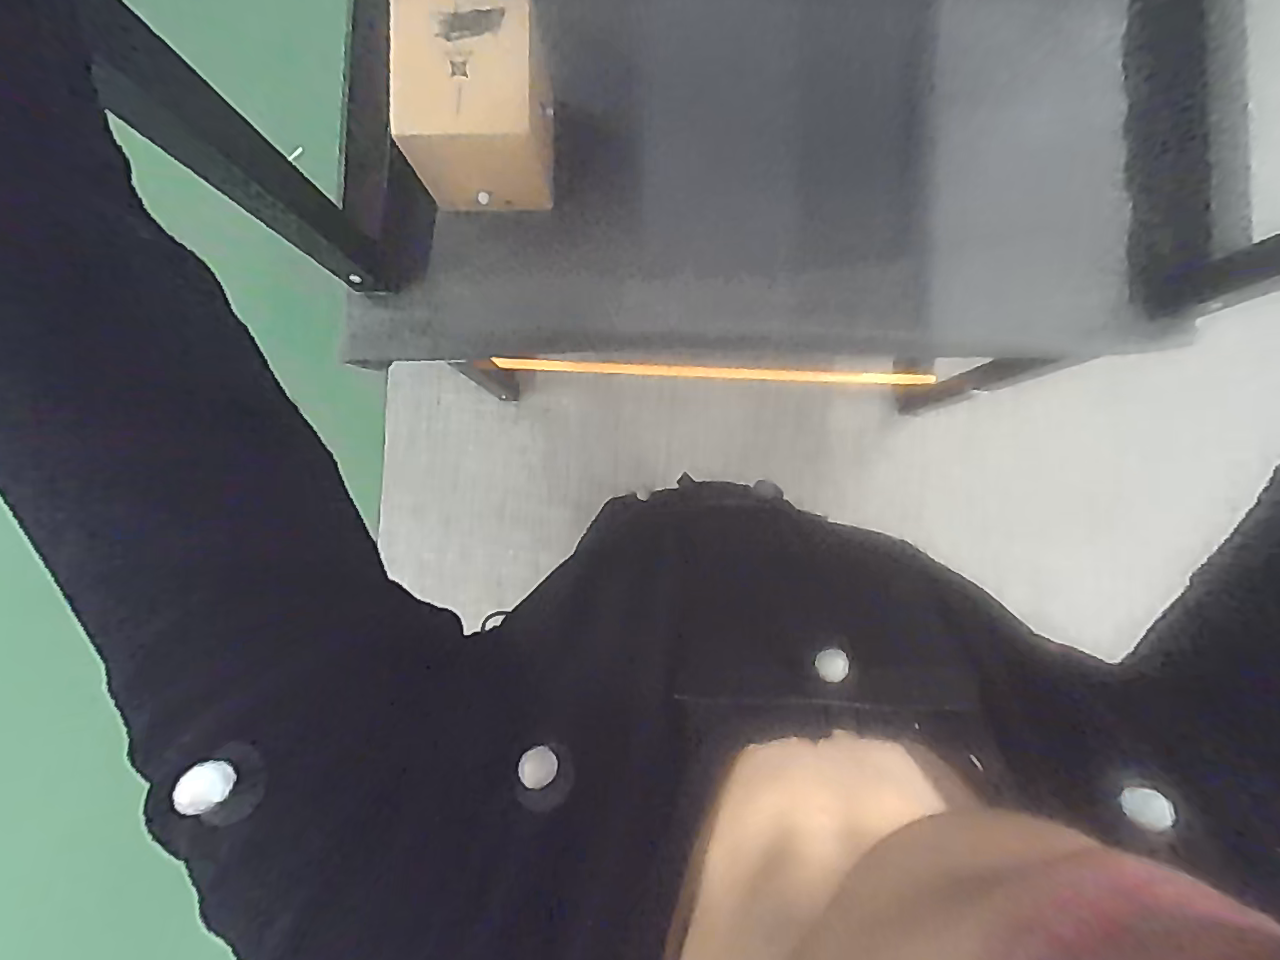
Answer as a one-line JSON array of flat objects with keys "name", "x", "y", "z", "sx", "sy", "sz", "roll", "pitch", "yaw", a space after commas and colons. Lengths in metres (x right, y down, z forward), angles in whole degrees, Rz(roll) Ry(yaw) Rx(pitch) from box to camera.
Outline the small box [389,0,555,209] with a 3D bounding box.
[{"name": "small box", "x": -0.208, "y": -0.486, "z": 0.710, "sx": 0.168, "sy": 0.176, "sz": 0.179, "roll": 0, "pitch": 88, "yaw": 1}]
